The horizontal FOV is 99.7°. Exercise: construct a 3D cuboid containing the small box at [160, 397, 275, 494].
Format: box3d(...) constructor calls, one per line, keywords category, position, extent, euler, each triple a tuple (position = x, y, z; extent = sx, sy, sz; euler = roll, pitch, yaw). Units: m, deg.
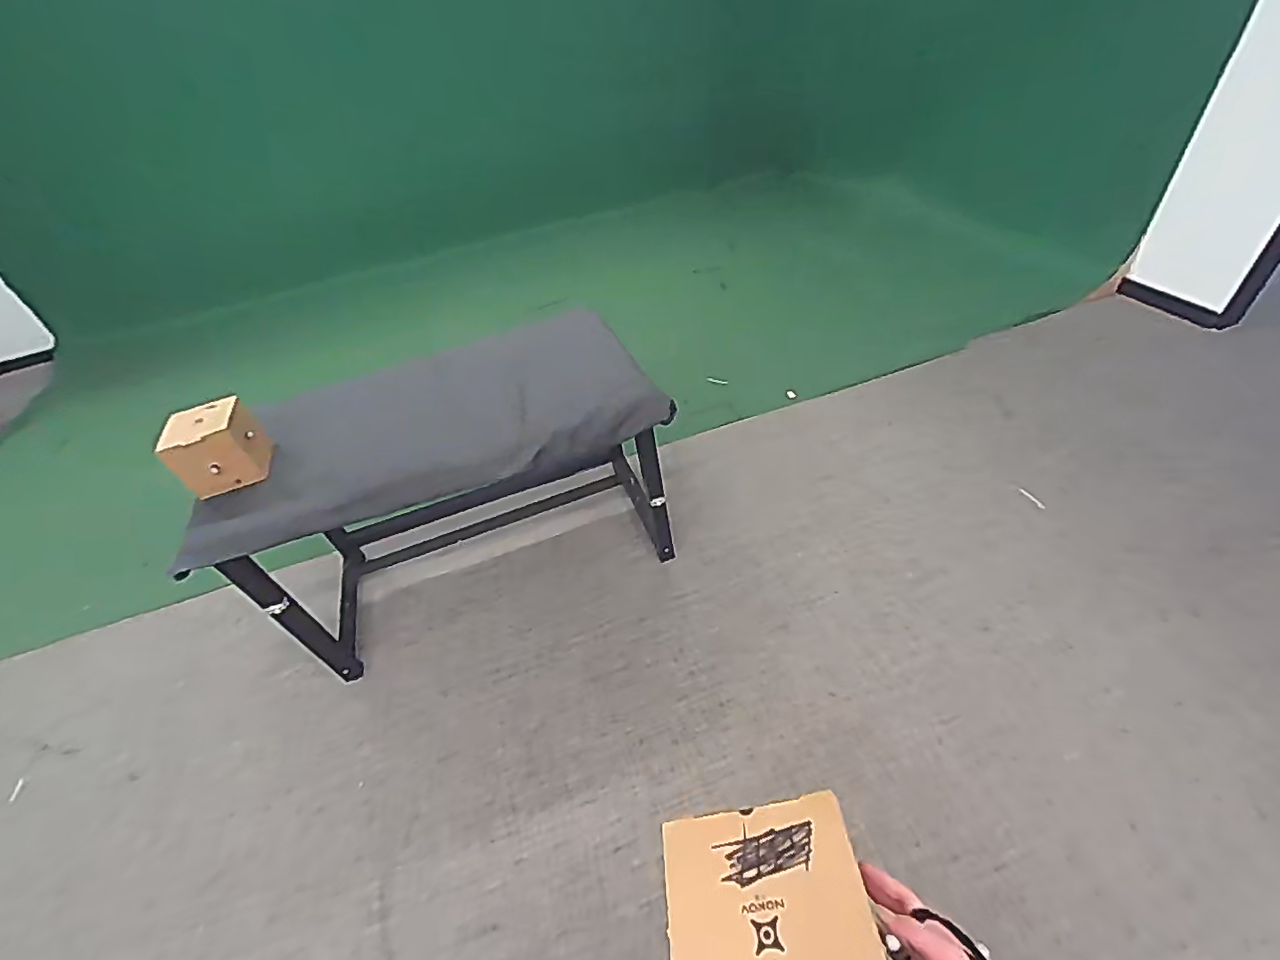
box3d(category="small box", position=(-1.092, -0.085, 1.417), extent=(0.168, 0.176, 0.179), euler=(-20, 45, -11))
